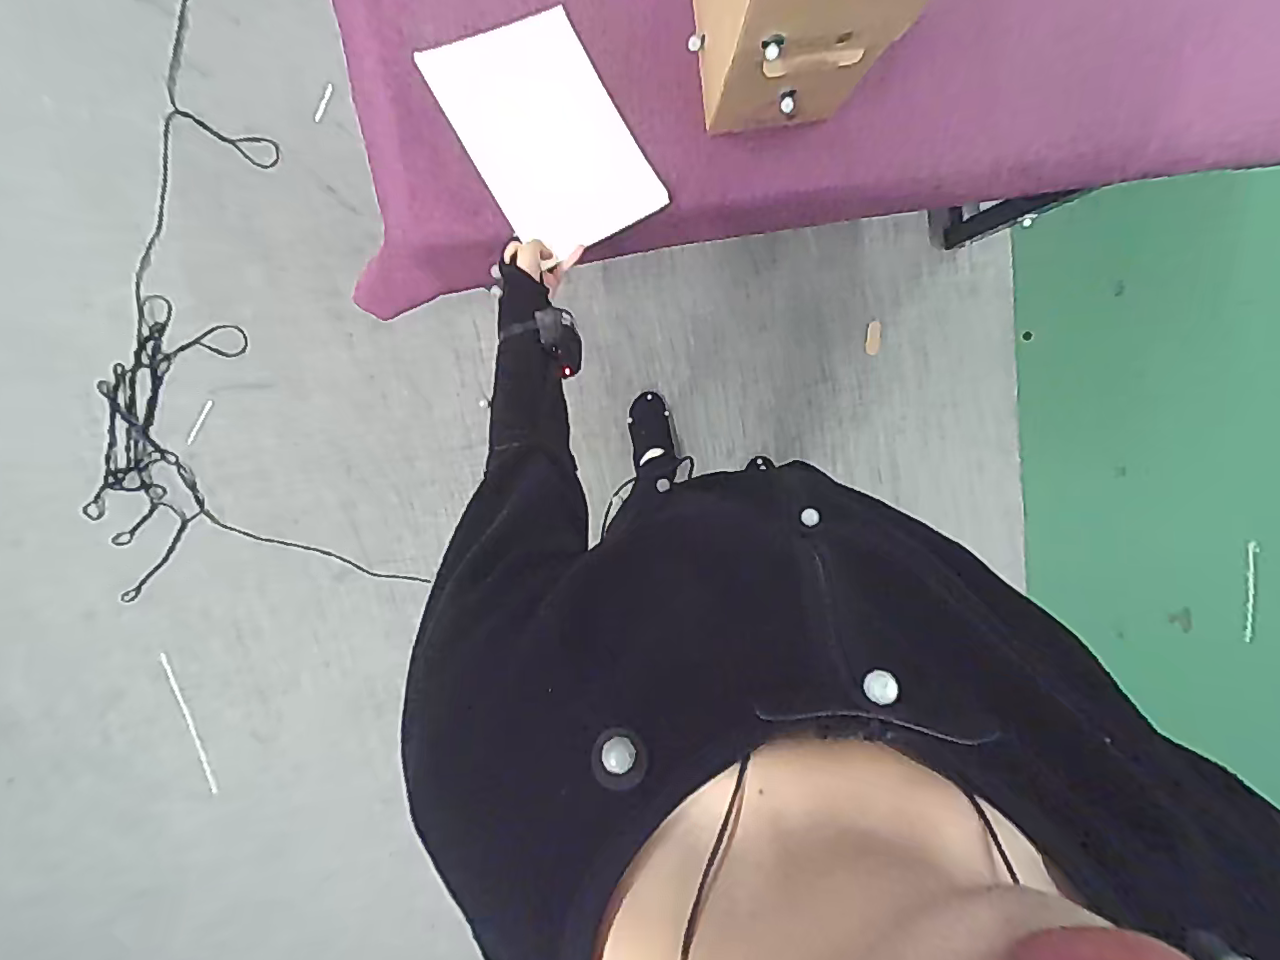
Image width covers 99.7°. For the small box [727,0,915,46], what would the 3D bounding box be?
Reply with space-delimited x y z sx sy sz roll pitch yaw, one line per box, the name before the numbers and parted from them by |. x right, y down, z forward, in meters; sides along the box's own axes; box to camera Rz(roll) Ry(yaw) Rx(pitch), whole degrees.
small box | 0.161 -0.495 0.438 0.168 0.176 0.179 -7 98 1

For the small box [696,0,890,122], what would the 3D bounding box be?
small box | 0.158 -0.528 0.599 0.168 0.176 0.179 -8 100 0
